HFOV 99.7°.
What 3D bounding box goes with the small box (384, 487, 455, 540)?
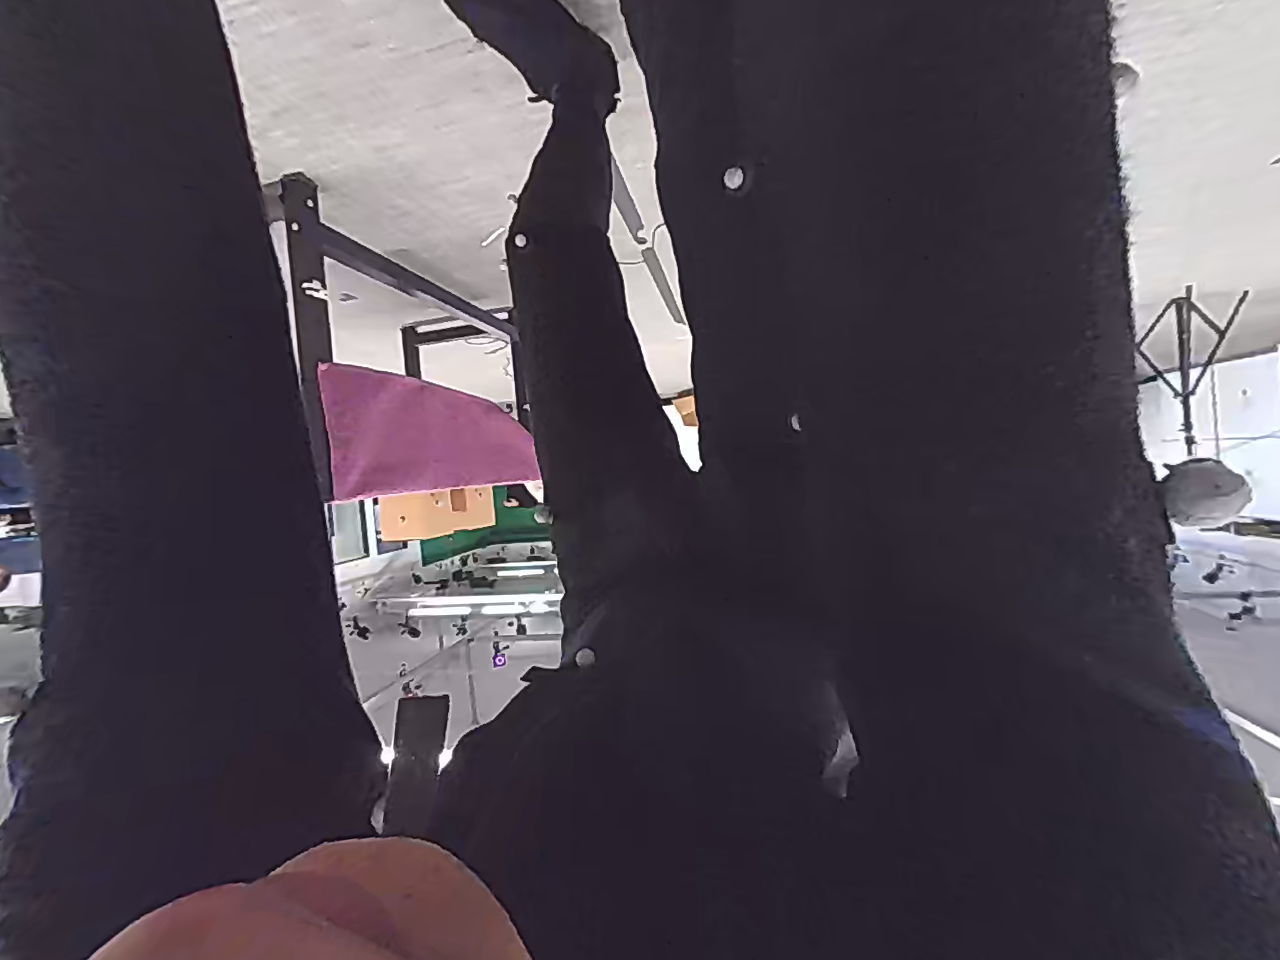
[{"bbox_3d":[-0.778,0.114,1.905,0.179,0.176,0.168,-6,-179,16],"label":"small box"}]
